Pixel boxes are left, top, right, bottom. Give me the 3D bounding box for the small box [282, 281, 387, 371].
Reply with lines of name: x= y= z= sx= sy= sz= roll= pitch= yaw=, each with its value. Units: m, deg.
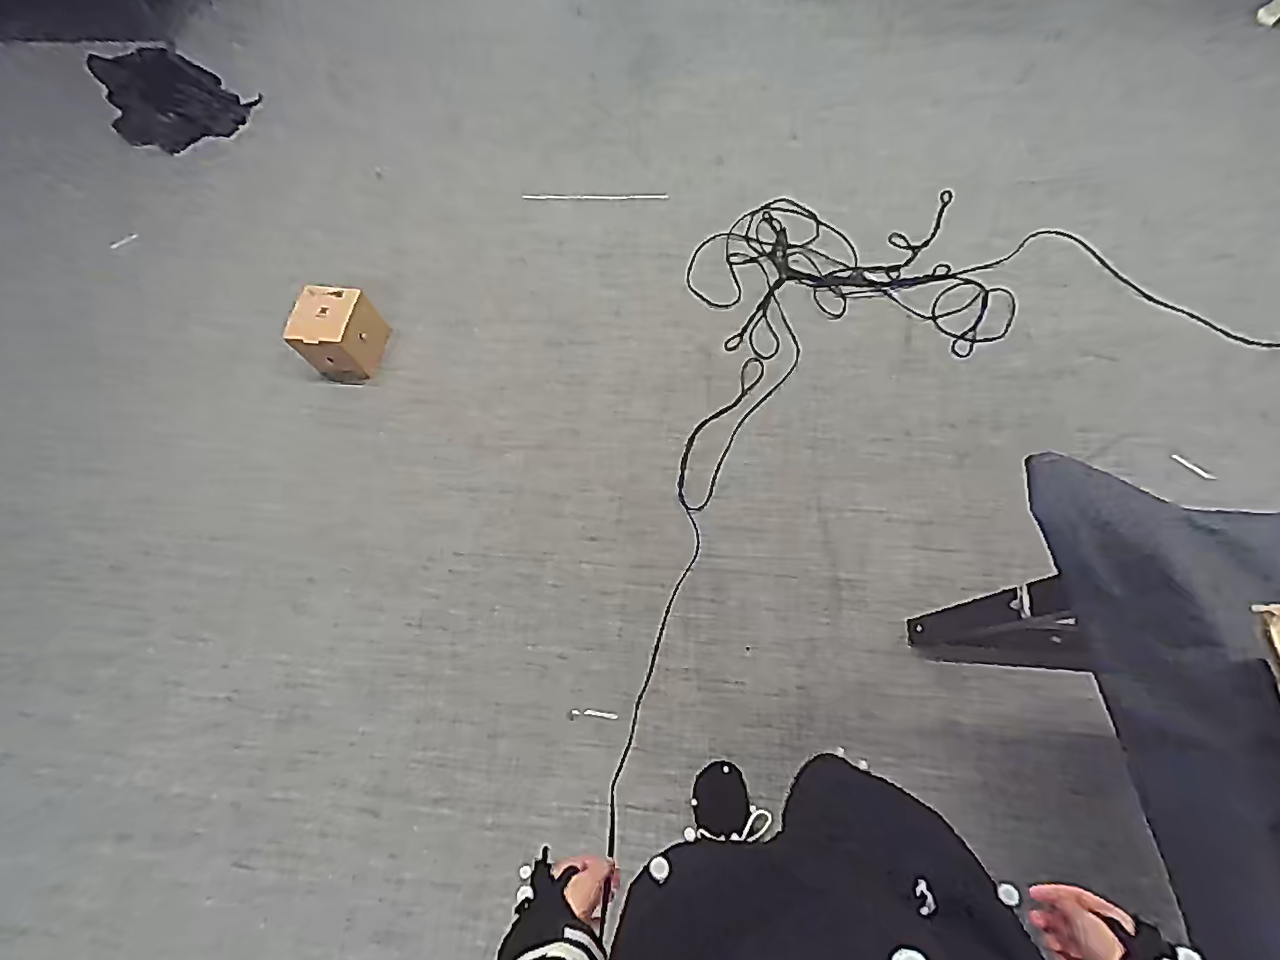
small box: x=-0.835 y=-0.421 z=1.499 sx=0.168 sy=0.176 sz=0.179 roll=7 pitch=71 yaw=5
